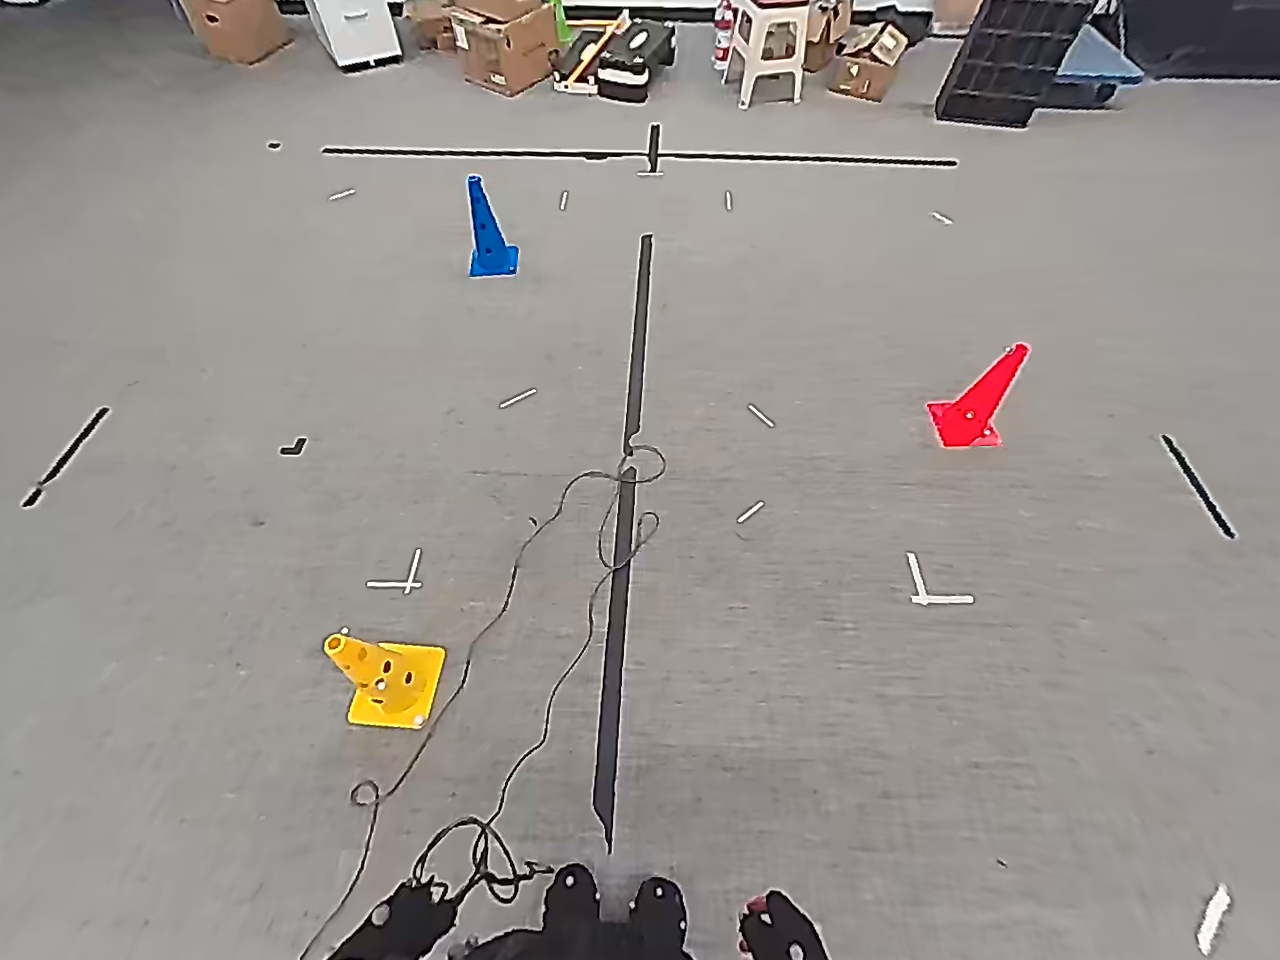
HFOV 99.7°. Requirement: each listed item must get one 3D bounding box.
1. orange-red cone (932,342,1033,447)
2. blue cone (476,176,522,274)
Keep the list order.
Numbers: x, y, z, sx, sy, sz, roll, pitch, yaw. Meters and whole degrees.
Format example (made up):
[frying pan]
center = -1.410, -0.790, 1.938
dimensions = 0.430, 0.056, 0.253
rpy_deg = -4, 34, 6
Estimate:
[orange-red cone]
center = 1.125, -0.292, 1.722
dimensions = 0.198, 0.360, 0.199
rpy_deg = -1, 55, -2
[blue cone]
center = -0.612, -1.048, 2.219
dimensions = 0.192, 0.380, 0.193
rpy_deg = -2, 56, -2
